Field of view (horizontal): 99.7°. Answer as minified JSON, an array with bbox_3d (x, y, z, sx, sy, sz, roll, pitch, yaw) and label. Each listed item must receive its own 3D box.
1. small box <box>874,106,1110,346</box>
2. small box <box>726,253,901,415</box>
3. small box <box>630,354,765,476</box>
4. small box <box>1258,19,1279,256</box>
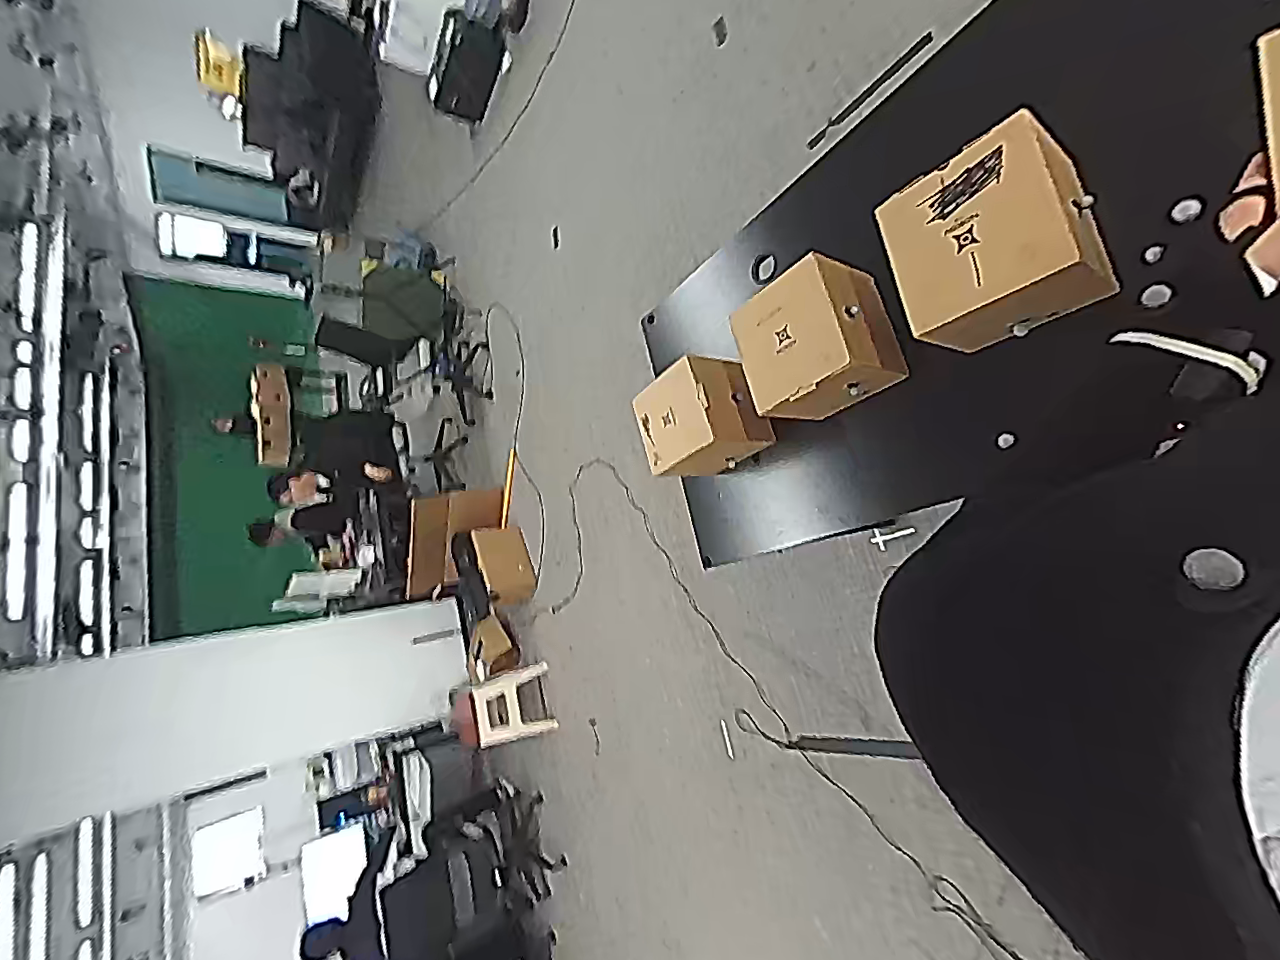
[{"bbox_3d":[0.412,-0.277,0.637,0.168,0.176,0.179,-23,75,49],"label":"small box"},{"bbox_3d":[0.265,-0.209,0.827,0.168,0.176,0.179,-30,69,47],"label":"small box"},{"bbox_3d":[0.112,-0.116,1.019,0.179,0.176,0.168,-31,68,47],"label":"small box"},{"bbox_3d":[0.562,-0.254,0.366,0.179,0.176,0.168,-4,97,52],"label":"small box"}]
